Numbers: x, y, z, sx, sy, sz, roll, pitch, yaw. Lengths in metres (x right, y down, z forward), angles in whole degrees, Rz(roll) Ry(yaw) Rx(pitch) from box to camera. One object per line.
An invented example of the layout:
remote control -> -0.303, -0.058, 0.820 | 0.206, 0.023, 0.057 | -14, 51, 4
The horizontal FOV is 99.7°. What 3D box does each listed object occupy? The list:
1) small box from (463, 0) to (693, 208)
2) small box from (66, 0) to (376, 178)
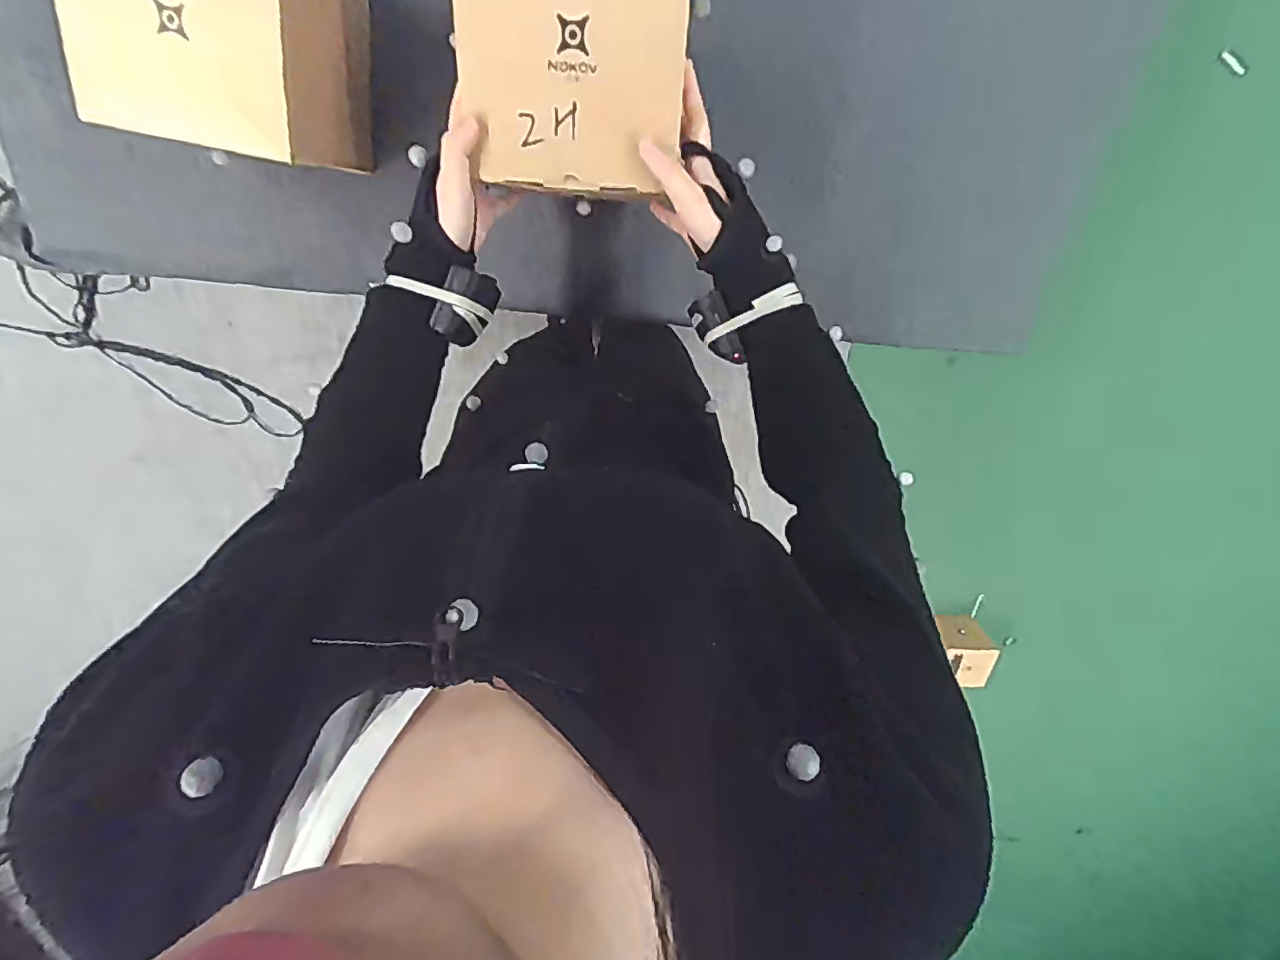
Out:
small box -> -0.047, -0.341, 0.466 | 0.168, 0.176, 0.179 | 3, 115, -1
small box -> -0.355, -0.388, 0.488 | 0.168, 0.176, 0.179 | 9, 114, -6
